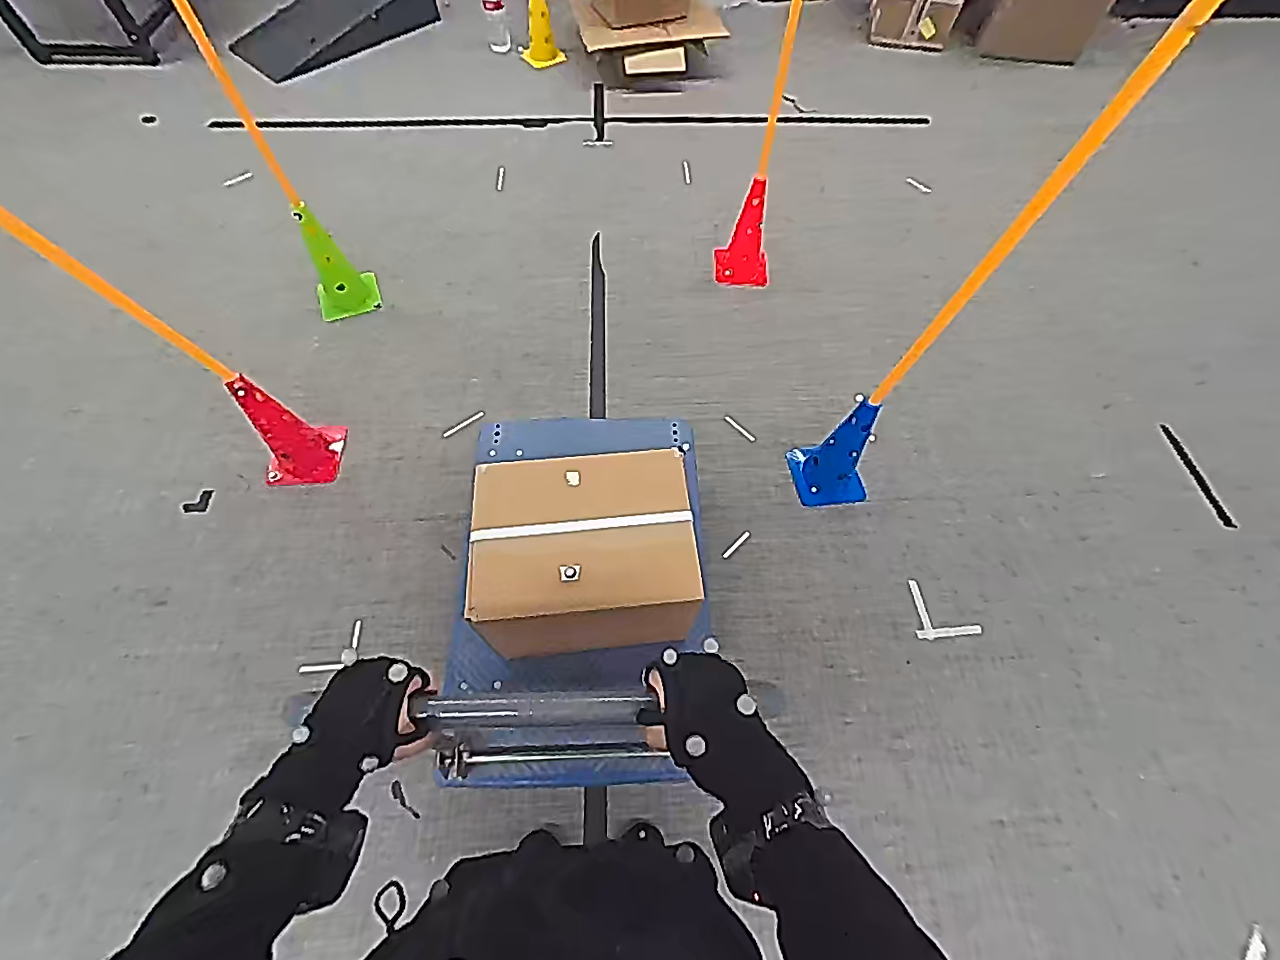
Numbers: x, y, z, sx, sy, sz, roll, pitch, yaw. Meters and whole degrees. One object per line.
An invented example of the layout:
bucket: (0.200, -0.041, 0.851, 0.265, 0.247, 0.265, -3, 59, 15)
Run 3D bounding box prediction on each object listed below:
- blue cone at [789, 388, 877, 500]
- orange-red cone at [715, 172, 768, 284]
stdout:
blue cone: (0.561, -0.109, 1.478, 0.193, 0.380, 0.192, -5, 60, -5)
orange-red cone: (0.391, -0.899, 1.899, 0.199, 0.360, 0.198, 5, 61, 0)
